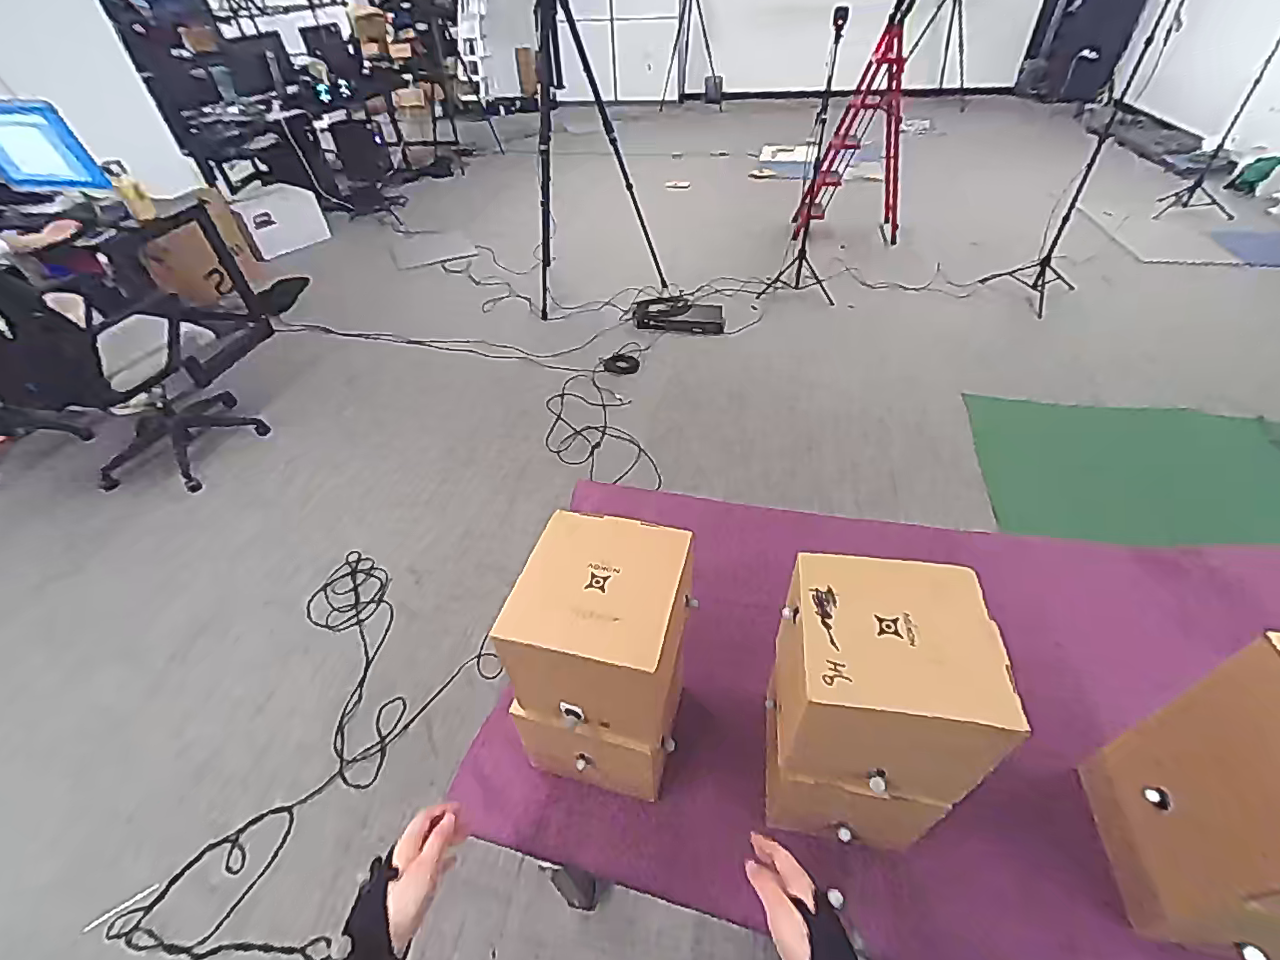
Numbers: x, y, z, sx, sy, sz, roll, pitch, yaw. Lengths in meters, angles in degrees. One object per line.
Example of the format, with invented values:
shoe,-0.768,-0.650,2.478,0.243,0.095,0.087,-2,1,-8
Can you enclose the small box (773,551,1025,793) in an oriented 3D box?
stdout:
small box,0.239,0.198,0.555,0.179,0.176,0.168,6,43,8

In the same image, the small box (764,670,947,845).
small box,0.246,0.316,0.668,0.168,0.176,0.179,5,44,9

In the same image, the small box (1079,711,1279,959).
small box,0.626,0.383,0.581,0.168,0.176,0.179,7,45,10

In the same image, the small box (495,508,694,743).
small box,-0.037,0.161,0.609,0.168,0.176,0.179,8,44,12

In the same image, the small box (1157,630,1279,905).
small box,0.623,0.262,0.473,0.168,0.176,0.179,6,45,10
